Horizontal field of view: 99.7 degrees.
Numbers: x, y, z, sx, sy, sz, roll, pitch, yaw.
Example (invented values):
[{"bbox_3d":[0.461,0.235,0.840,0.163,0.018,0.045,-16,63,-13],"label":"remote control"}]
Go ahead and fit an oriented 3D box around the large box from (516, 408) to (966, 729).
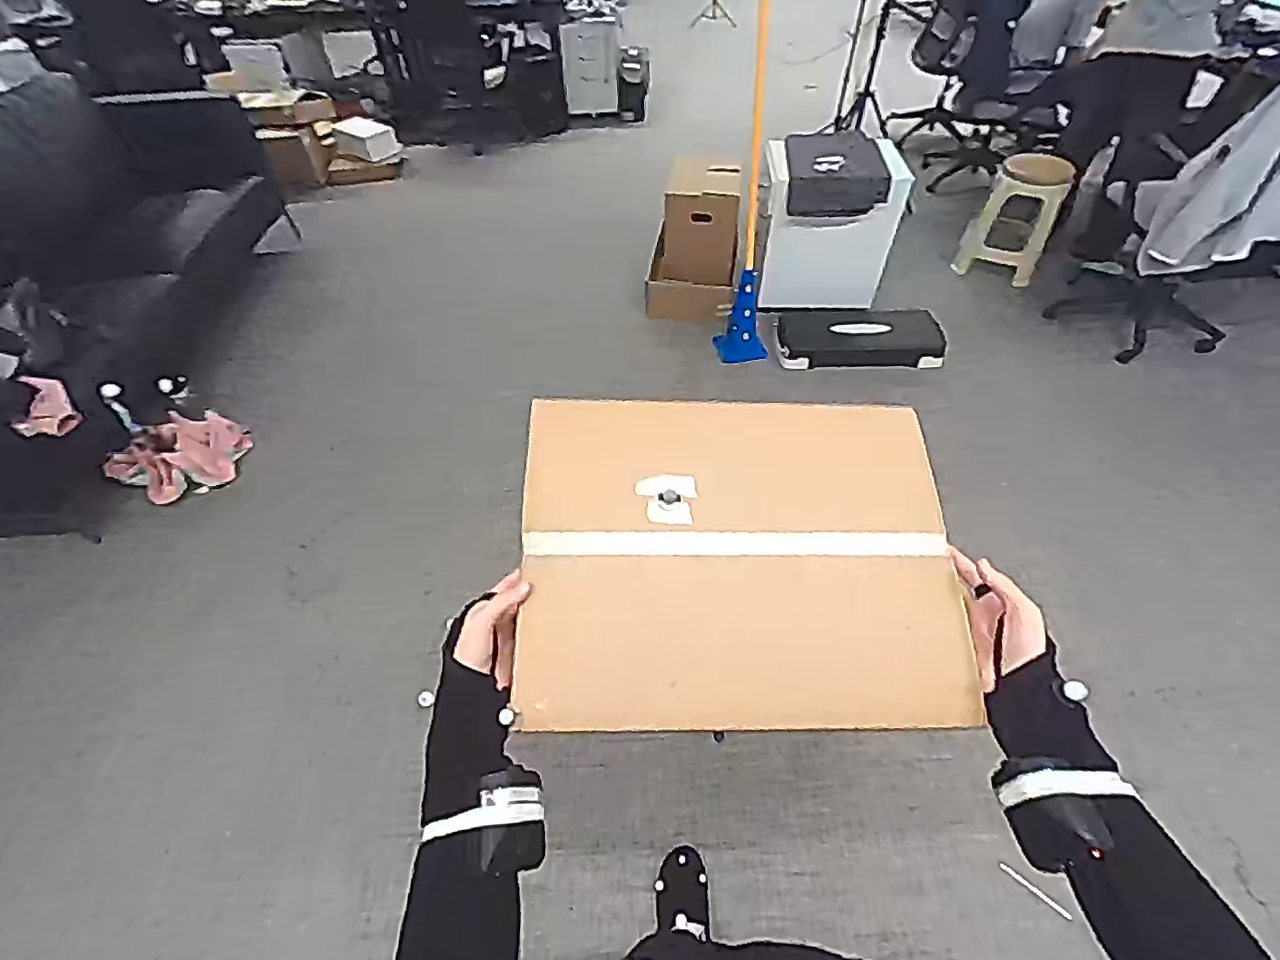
[{"bbox_3d":[0.086,0.120,0.659,0.408,0.320,0.320,0,68,-2],"label":"large box"}]
